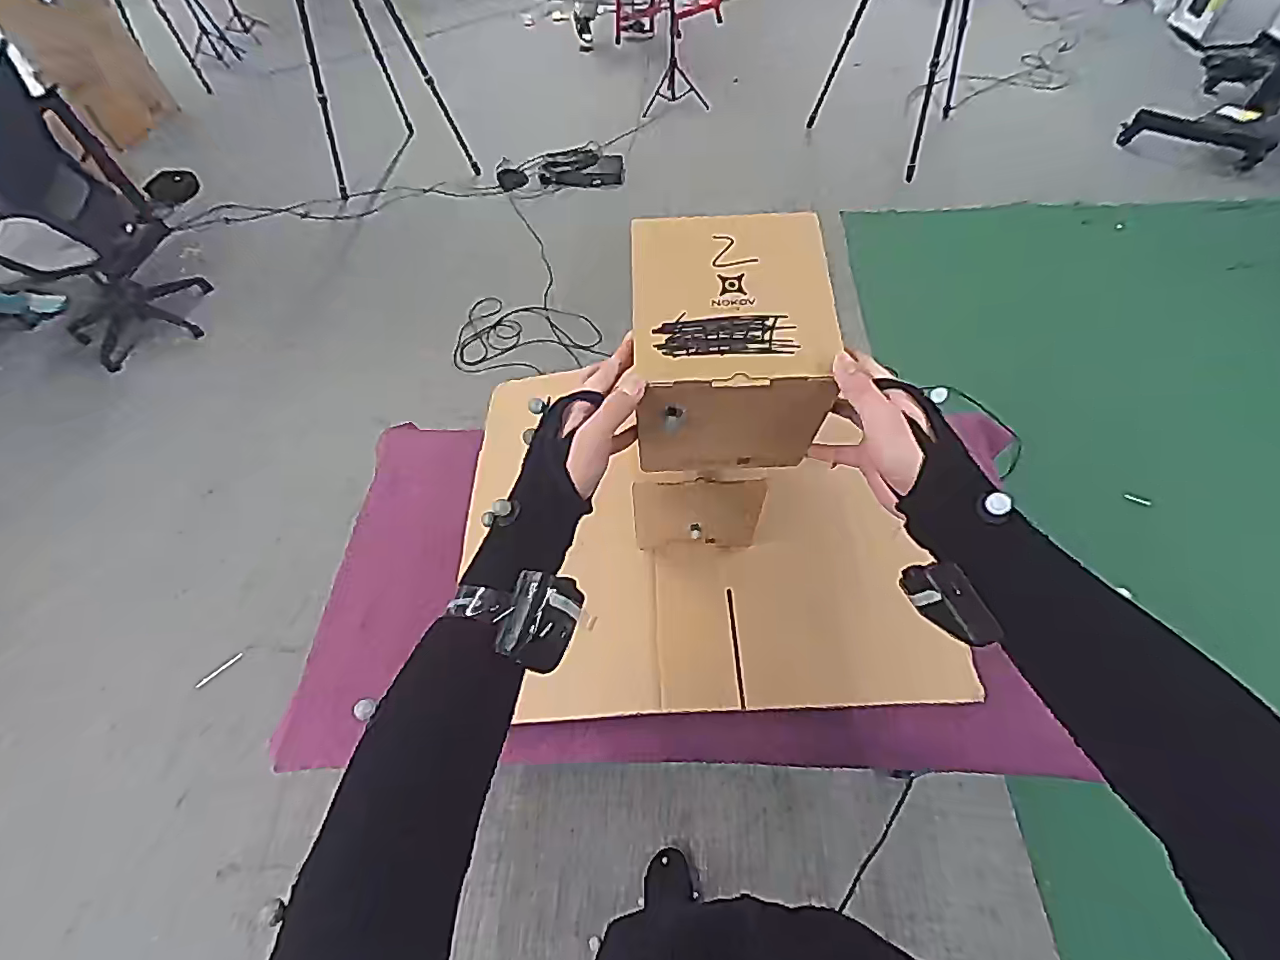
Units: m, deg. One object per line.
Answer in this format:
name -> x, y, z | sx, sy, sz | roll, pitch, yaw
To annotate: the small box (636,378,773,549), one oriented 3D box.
small box -> 0.079, -0.020, 0.749 | 0.168, 0.176, 0.179 | -1, 56, 2
